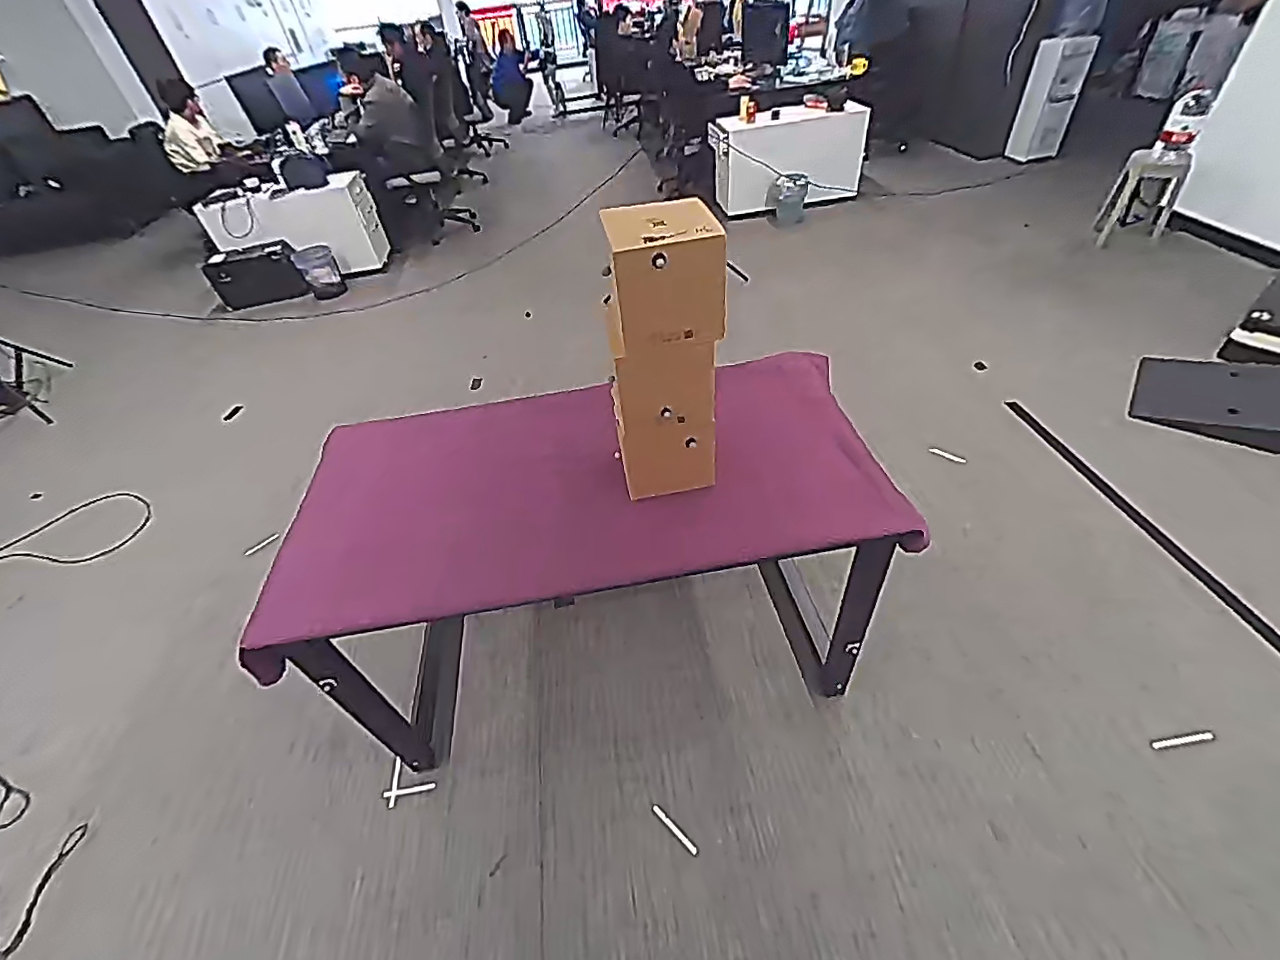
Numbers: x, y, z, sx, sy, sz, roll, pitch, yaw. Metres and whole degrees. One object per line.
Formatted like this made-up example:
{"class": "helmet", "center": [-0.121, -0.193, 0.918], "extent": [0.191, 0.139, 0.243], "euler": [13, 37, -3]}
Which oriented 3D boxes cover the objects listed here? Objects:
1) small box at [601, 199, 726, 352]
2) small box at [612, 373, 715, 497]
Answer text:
{"class": "small box", "center": [0.035, -0.327, 0.866], "extent": [0.168, 0.176, 0.179], "euler": [-11, 43, -3]}
{"class": "small box", "center": [0.048, -0.089, 1.092], "extent": [0.179, 0.176, 0.168], "euler": [-11, 43, -2]}
